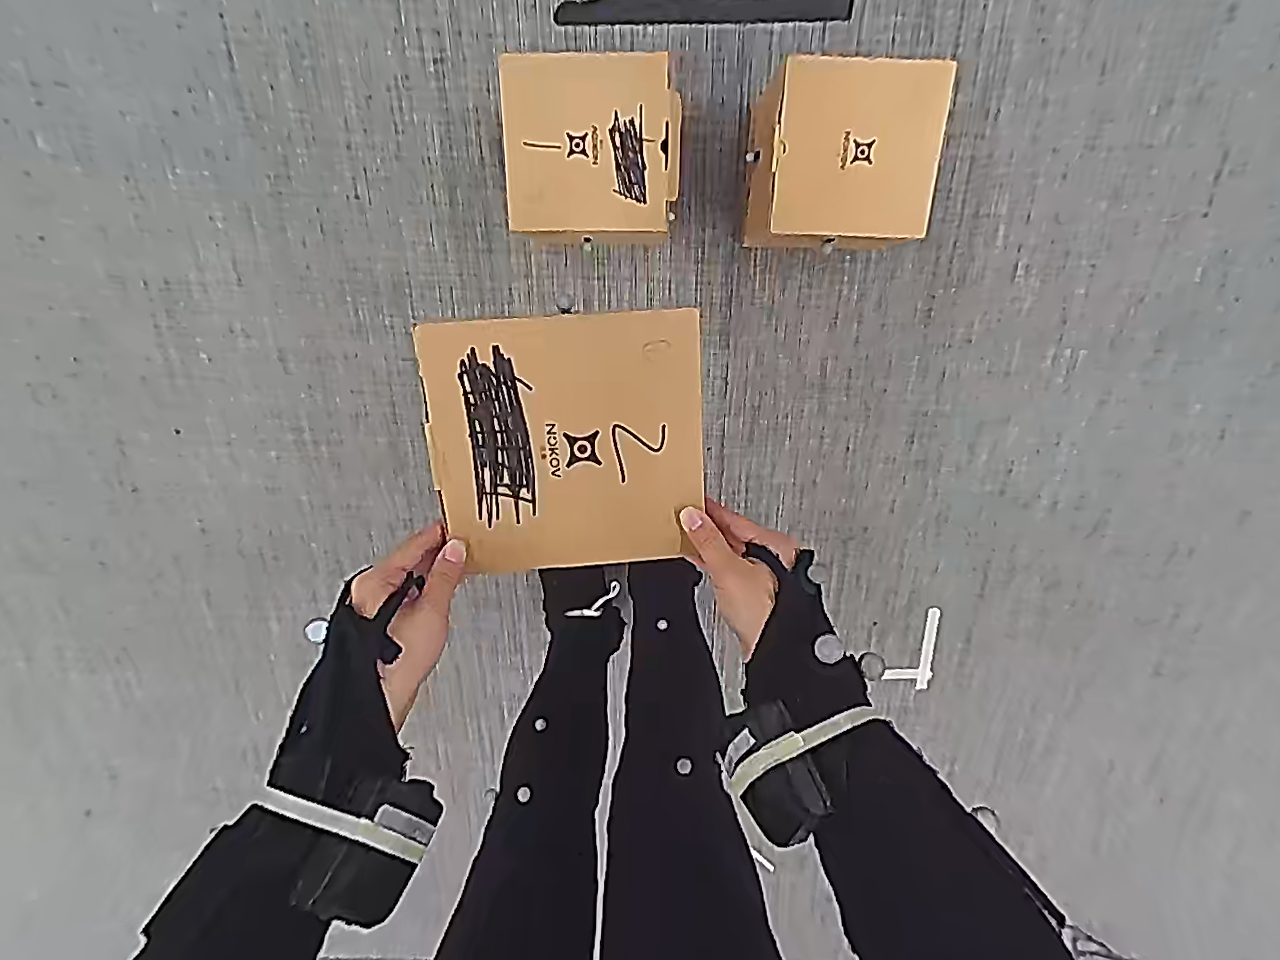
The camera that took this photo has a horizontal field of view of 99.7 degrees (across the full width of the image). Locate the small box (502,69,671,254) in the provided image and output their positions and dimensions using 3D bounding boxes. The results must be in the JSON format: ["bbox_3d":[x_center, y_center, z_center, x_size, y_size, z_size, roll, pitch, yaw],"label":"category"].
[{"bbox_3d":[-0.056,-0.369,0.654,0.179,0.176,0.168,1,110,1],"label":"small box"}]

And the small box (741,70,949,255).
[{"bbox_3d":[0.229,-0.367,0.654,0.179,0.176,0.168,2,110,1],"label":"small box"}]
